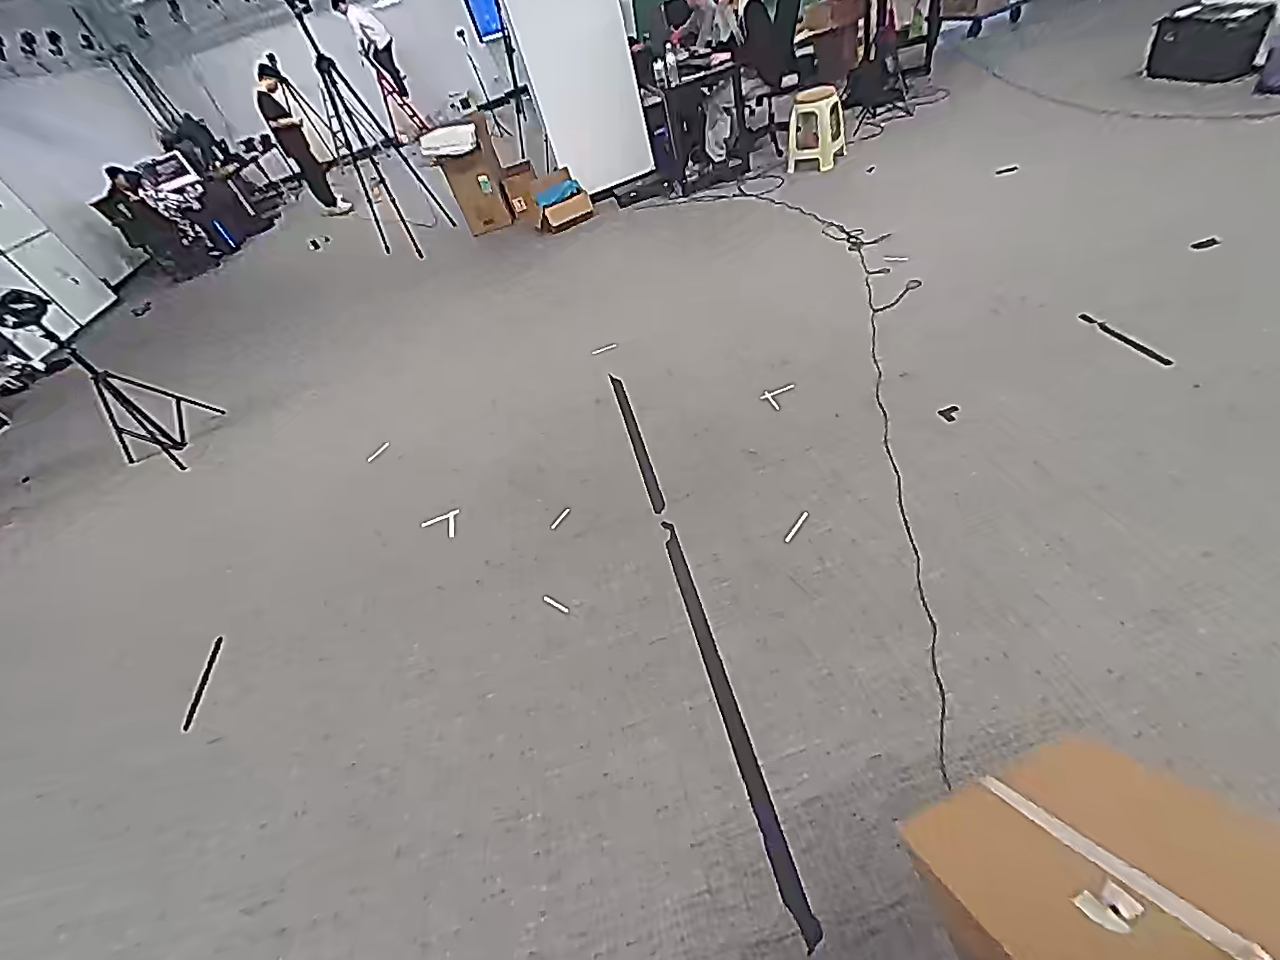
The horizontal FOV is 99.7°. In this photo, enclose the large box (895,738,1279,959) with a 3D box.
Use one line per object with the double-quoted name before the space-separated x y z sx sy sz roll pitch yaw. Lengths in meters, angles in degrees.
"large box" 0.581 0.567 0.601 0.320 0.408 0.320 -26 86 -4
